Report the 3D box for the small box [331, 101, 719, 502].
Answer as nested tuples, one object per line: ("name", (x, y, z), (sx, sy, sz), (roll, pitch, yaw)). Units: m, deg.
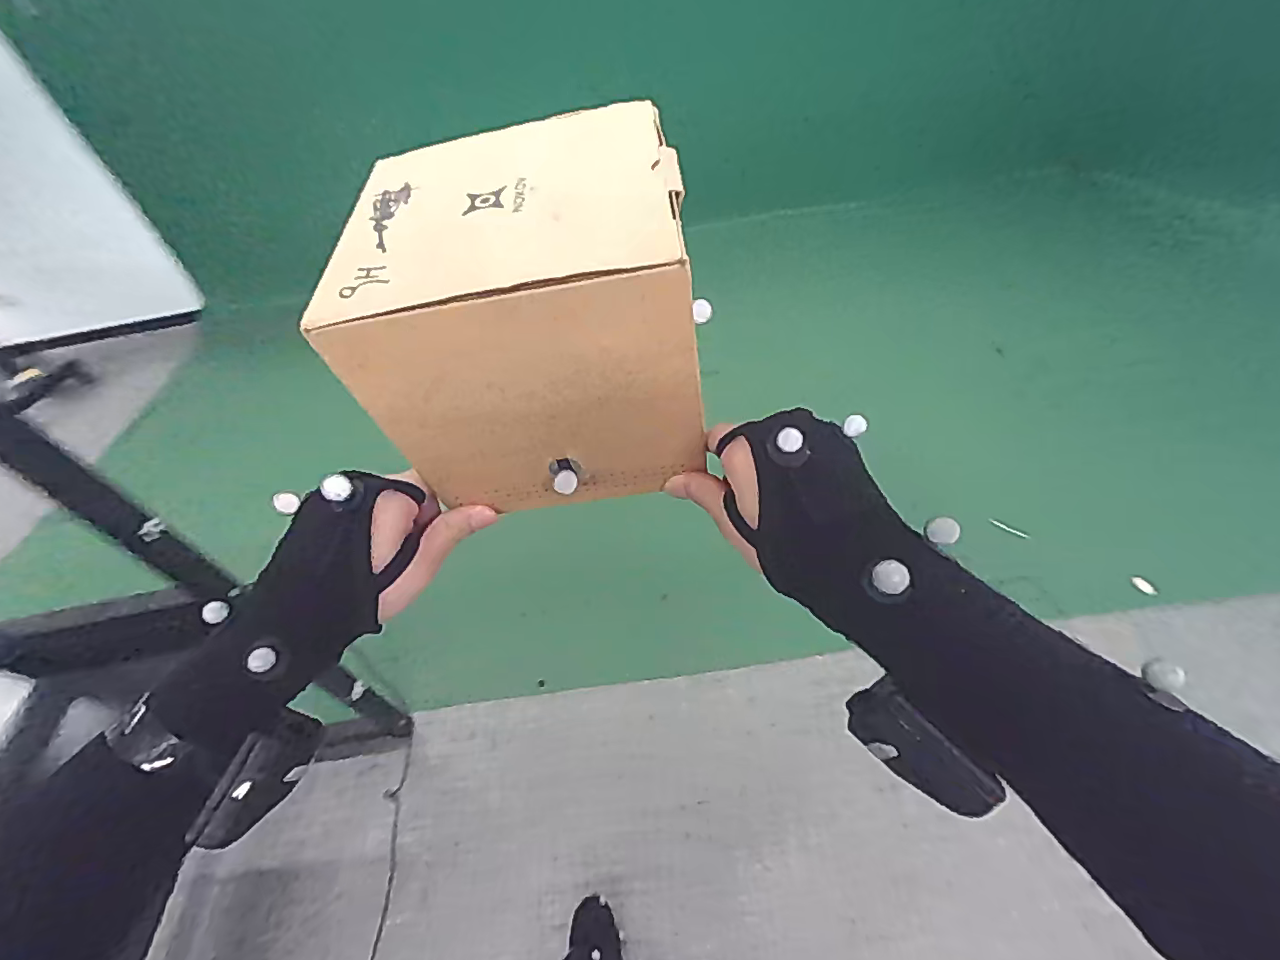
("small box", (-0.046, -0.103, 0.345), (0.179, 0.176, 0.168), (-7, 53, 5))
